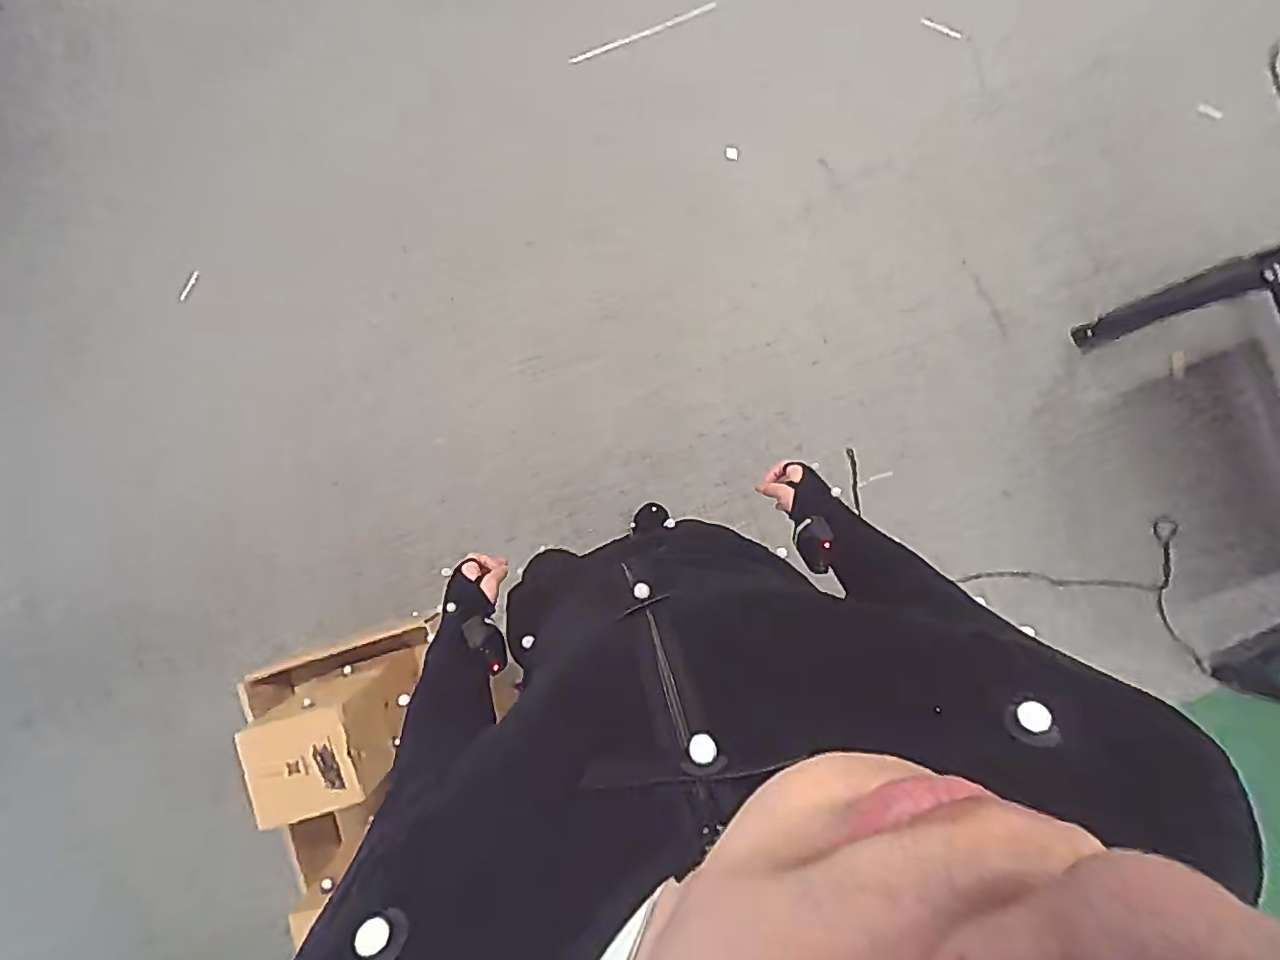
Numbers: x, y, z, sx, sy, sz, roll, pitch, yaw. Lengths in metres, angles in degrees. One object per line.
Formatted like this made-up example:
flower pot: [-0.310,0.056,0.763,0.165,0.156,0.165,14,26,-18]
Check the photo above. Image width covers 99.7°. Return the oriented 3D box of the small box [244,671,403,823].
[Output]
small box: [-0.548,0.464,0.967,0.179,0.176,0.168,-16,89,-1]

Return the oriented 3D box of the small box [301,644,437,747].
small box: [-0.557,0.465,1.132,0.179,0.176,0.168,-17,89,-2]

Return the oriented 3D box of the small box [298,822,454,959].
small box: [-0.459,0.756,0.965,0.179,0.176,0.168,-15,90,-1]
